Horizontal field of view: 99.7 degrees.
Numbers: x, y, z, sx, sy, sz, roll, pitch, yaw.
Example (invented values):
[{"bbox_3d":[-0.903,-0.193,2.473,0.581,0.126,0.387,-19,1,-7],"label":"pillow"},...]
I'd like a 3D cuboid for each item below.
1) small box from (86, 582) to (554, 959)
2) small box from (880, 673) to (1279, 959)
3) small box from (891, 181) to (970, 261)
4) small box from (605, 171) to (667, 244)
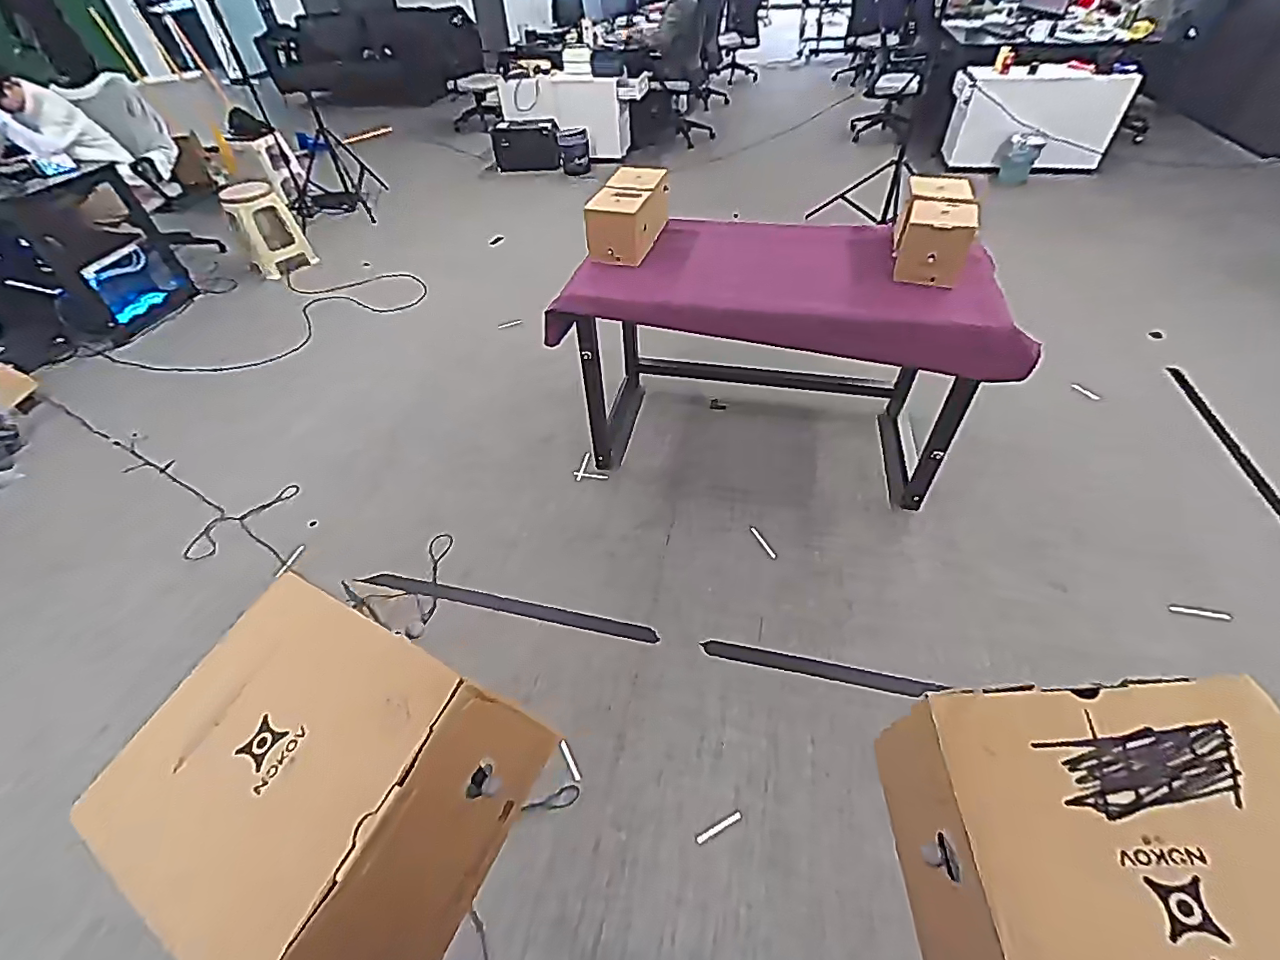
[{"bbox_3d":[-0.186,0.200,0.368,0.179,0.176,0.168,16,60,25],"label":"small box"},{"bbox_3d":[0.257,0.227,0.314,0.168,0.176,0.179,-7,56,7],"label":"small box"},{"bbox_3d":[0.883,-0.796,1.660,0.168,0.176,0.179,11,47,13],"label":"small box"},{"bbox_3d":[-0.011,-0.923,1.832,0.168,0.176,0.179,11,49,14],"label":"small box"}]
